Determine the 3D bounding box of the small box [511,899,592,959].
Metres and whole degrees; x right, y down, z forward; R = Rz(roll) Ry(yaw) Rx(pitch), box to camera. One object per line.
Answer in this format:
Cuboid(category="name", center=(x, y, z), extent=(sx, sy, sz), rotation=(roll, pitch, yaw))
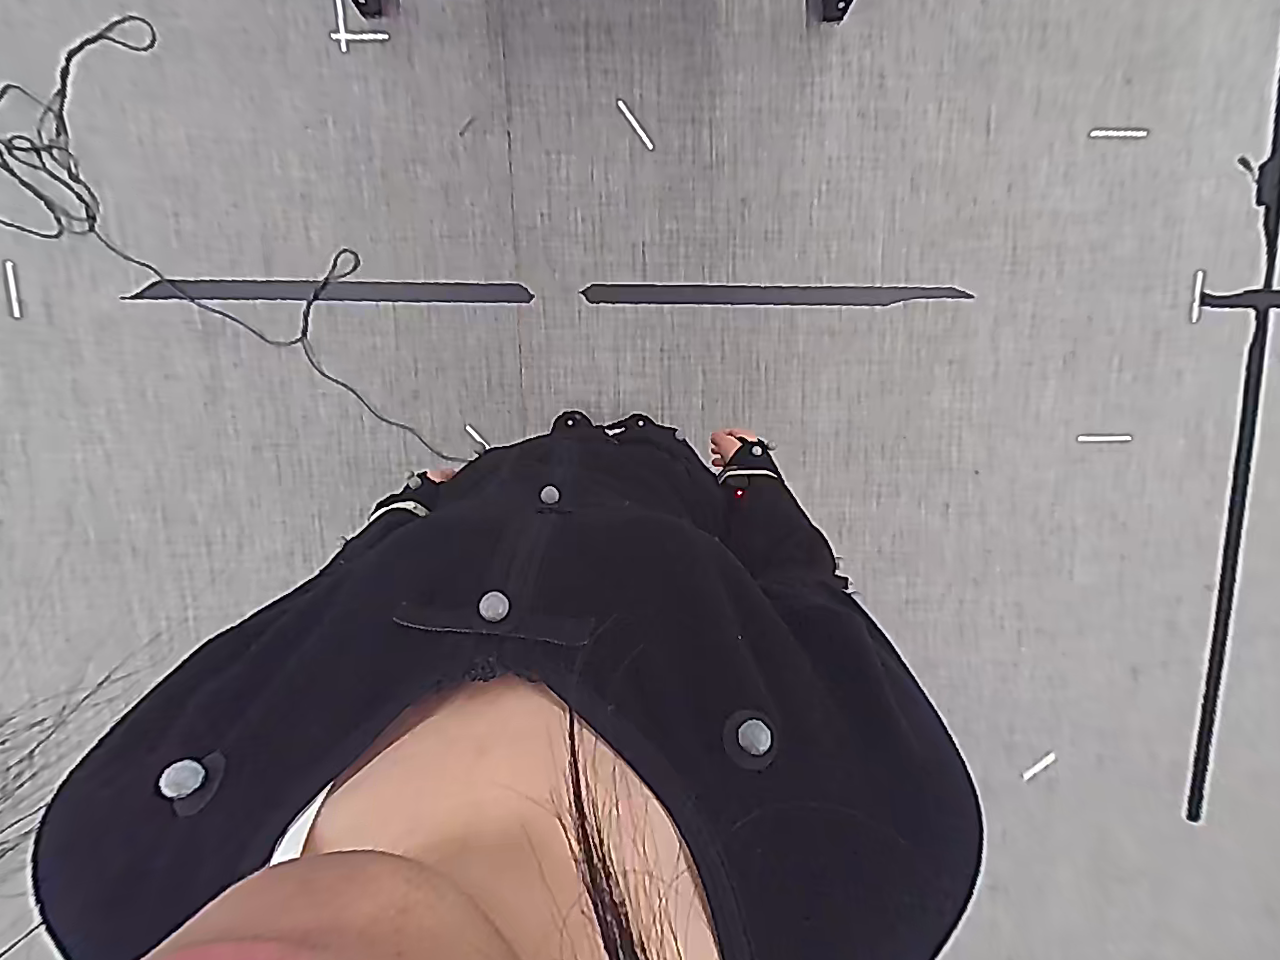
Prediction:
Cuboid(category="small box", center=(-0.202, 1.114, 1.253), extent=(0.179, 0.176, 0.168), rotation=(-2, 96, -1))
